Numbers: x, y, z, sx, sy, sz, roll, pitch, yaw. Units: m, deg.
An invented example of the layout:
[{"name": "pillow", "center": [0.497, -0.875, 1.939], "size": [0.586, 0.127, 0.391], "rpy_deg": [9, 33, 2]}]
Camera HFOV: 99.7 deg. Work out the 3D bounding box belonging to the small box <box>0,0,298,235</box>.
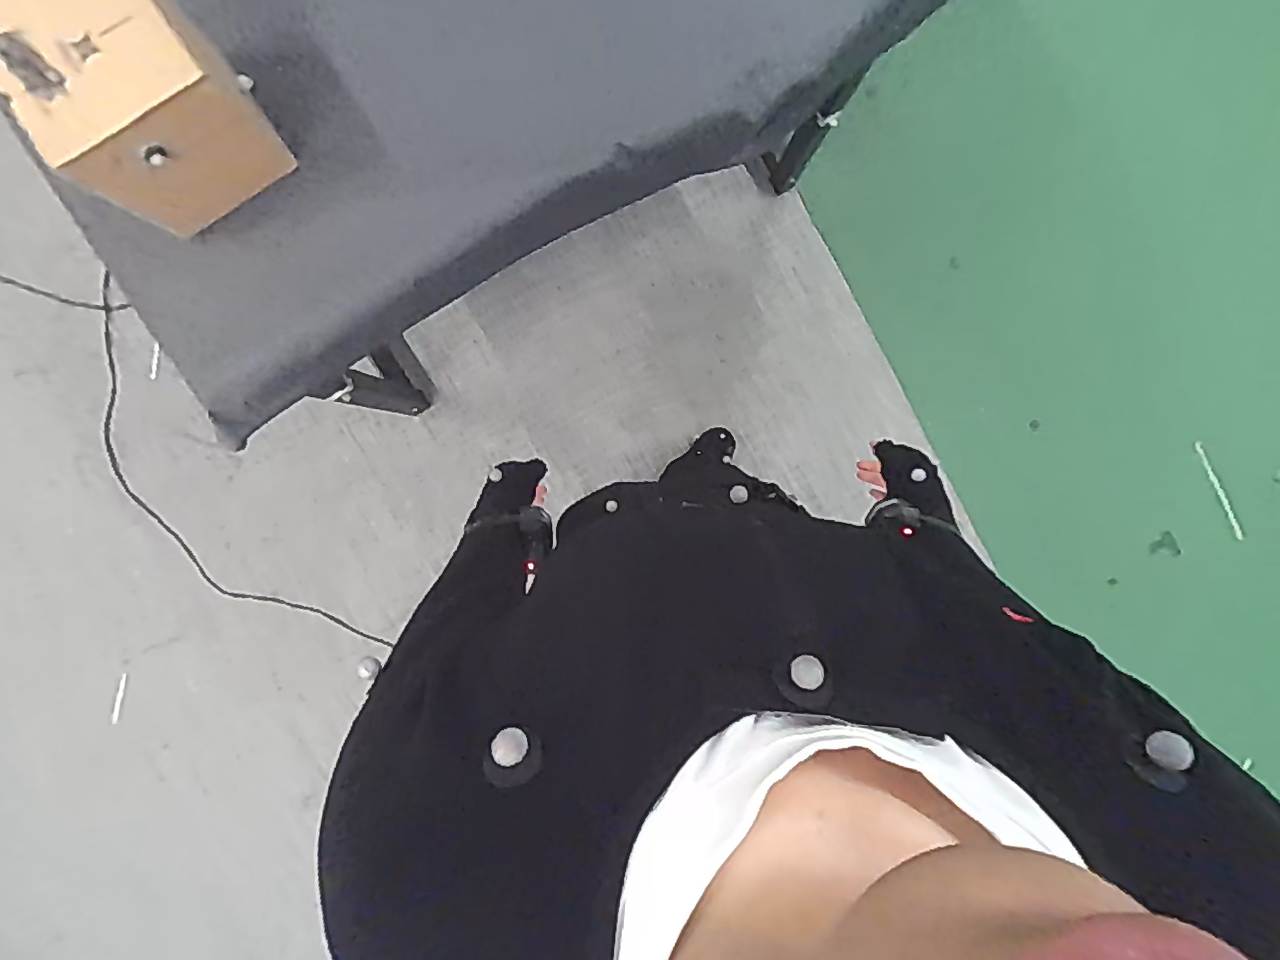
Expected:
[{"name": "small box", "center": [-0.546, -0.417, 0.613], "size": [0.179, 0.176, 0.168], "rpy_deg": [-34, 93, -2]}]
